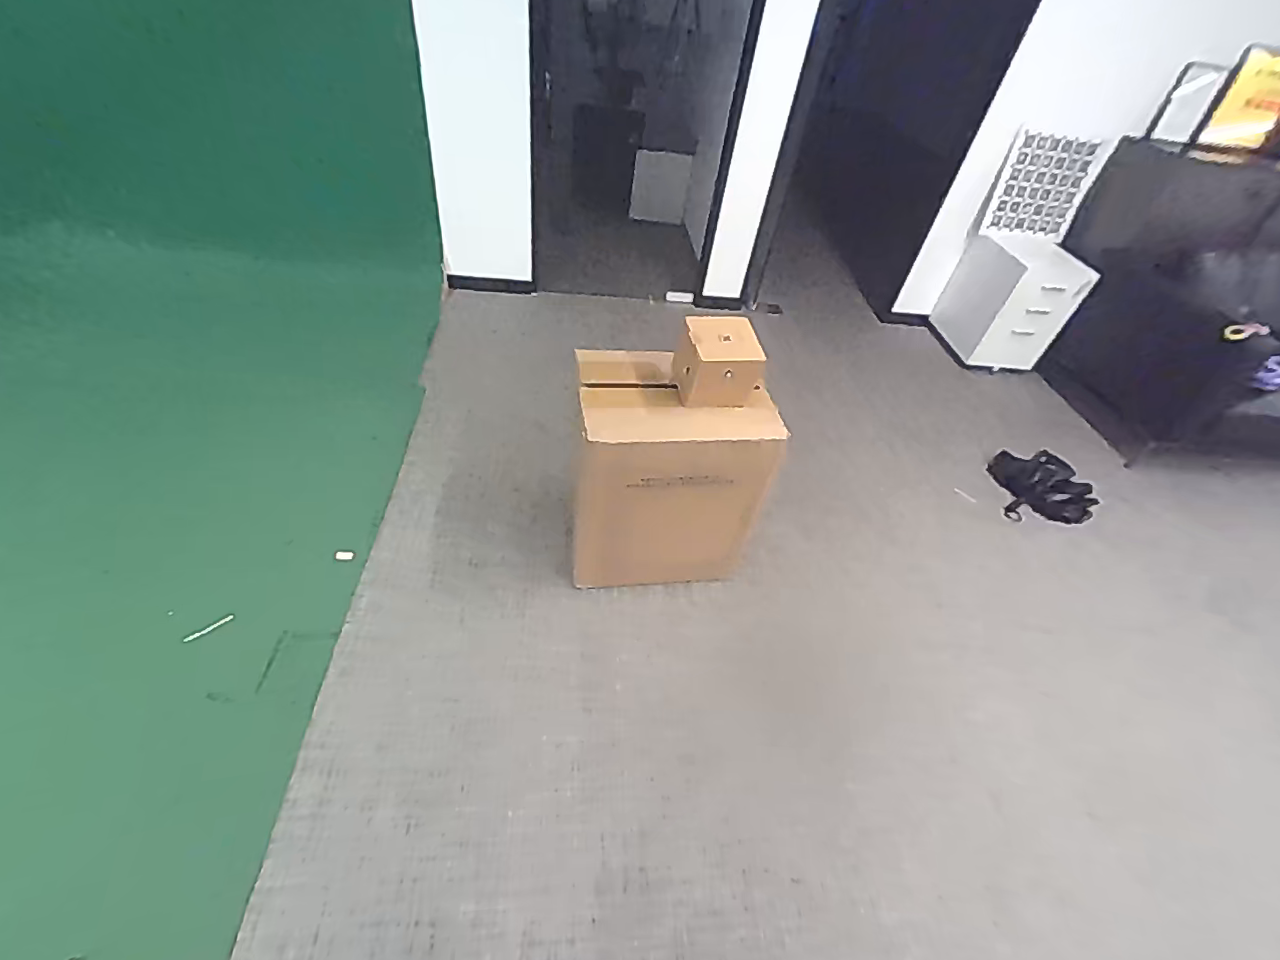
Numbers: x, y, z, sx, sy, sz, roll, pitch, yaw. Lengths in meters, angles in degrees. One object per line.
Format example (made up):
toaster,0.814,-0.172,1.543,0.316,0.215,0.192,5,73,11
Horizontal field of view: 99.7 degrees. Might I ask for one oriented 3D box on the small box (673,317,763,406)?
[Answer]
small box,0.194,-0.307,1.418,0.179,0.176,0.168,-3,56,-15
